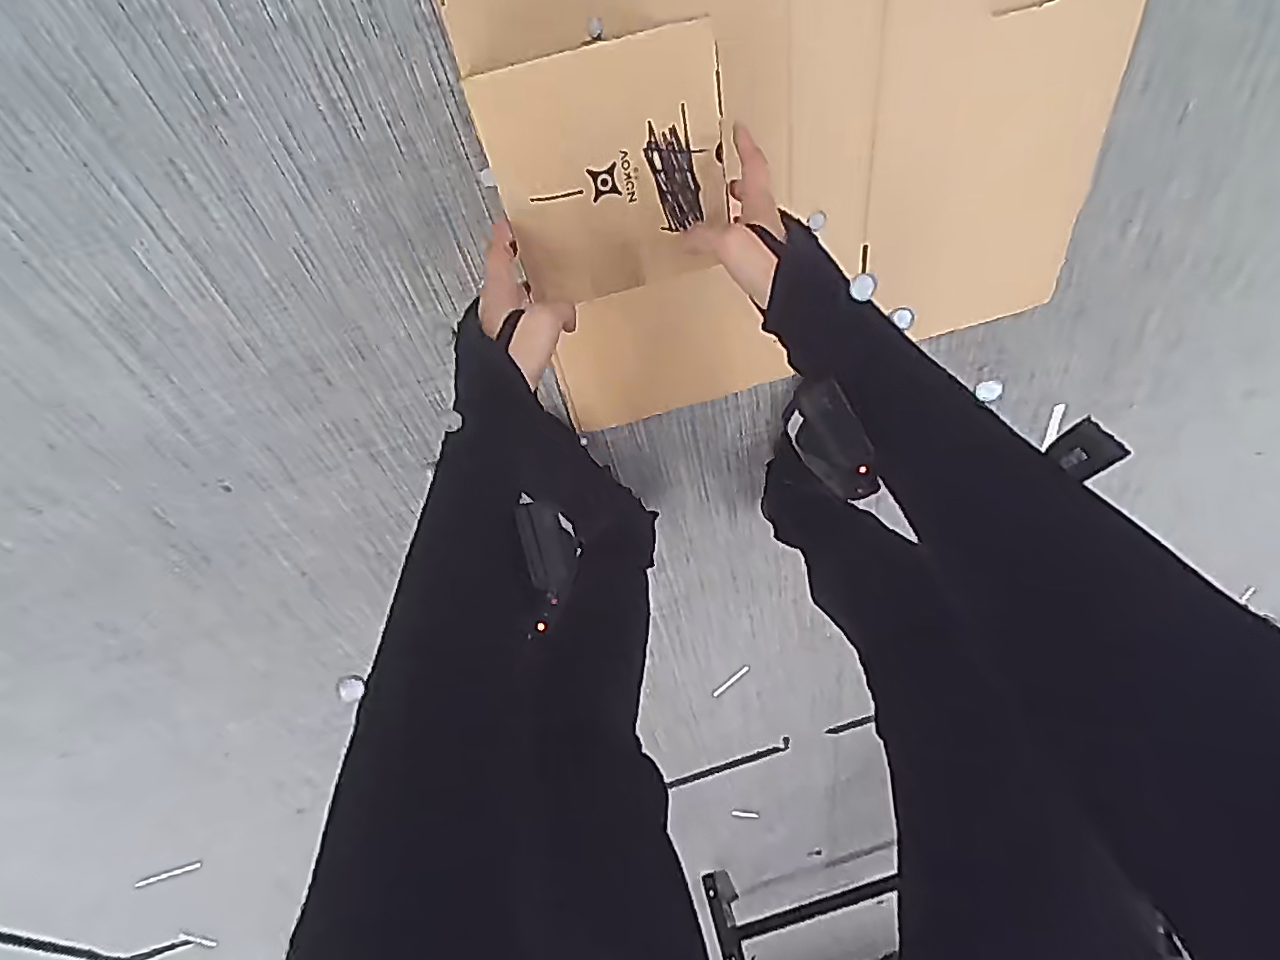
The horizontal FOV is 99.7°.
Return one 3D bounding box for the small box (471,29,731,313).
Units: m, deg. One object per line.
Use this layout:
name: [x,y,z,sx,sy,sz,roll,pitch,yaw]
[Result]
small box: [-0.034,-0.274,0.473,0.179,0.176,0.168,-16,130,-2]
